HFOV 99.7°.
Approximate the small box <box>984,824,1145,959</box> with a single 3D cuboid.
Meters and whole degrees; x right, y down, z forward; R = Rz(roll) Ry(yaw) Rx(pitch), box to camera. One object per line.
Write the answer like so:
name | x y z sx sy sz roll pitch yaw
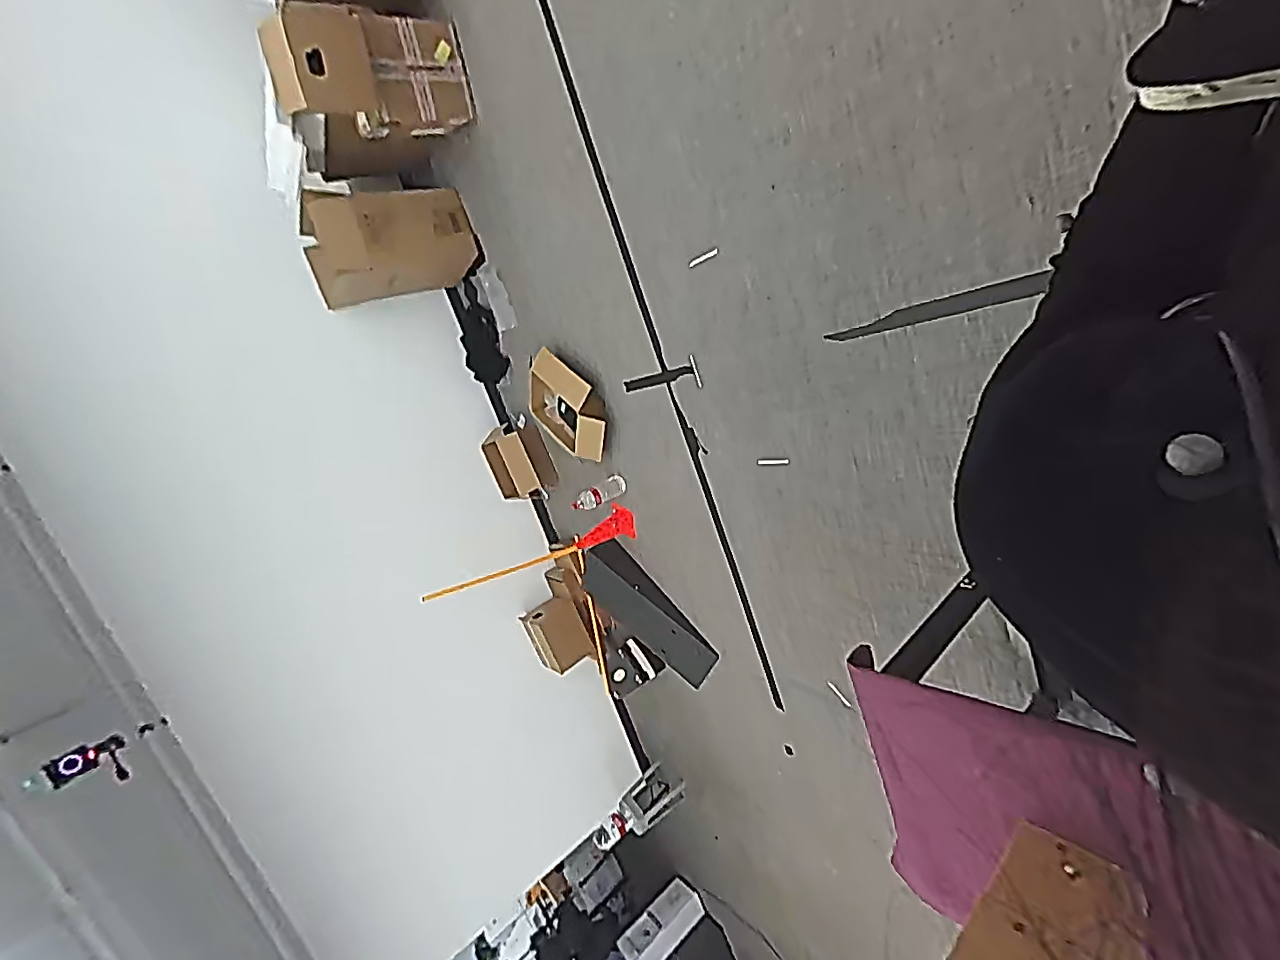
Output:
small box | 0.685 0.714 0.870 0.168 0.176 0.179 7 119 52
